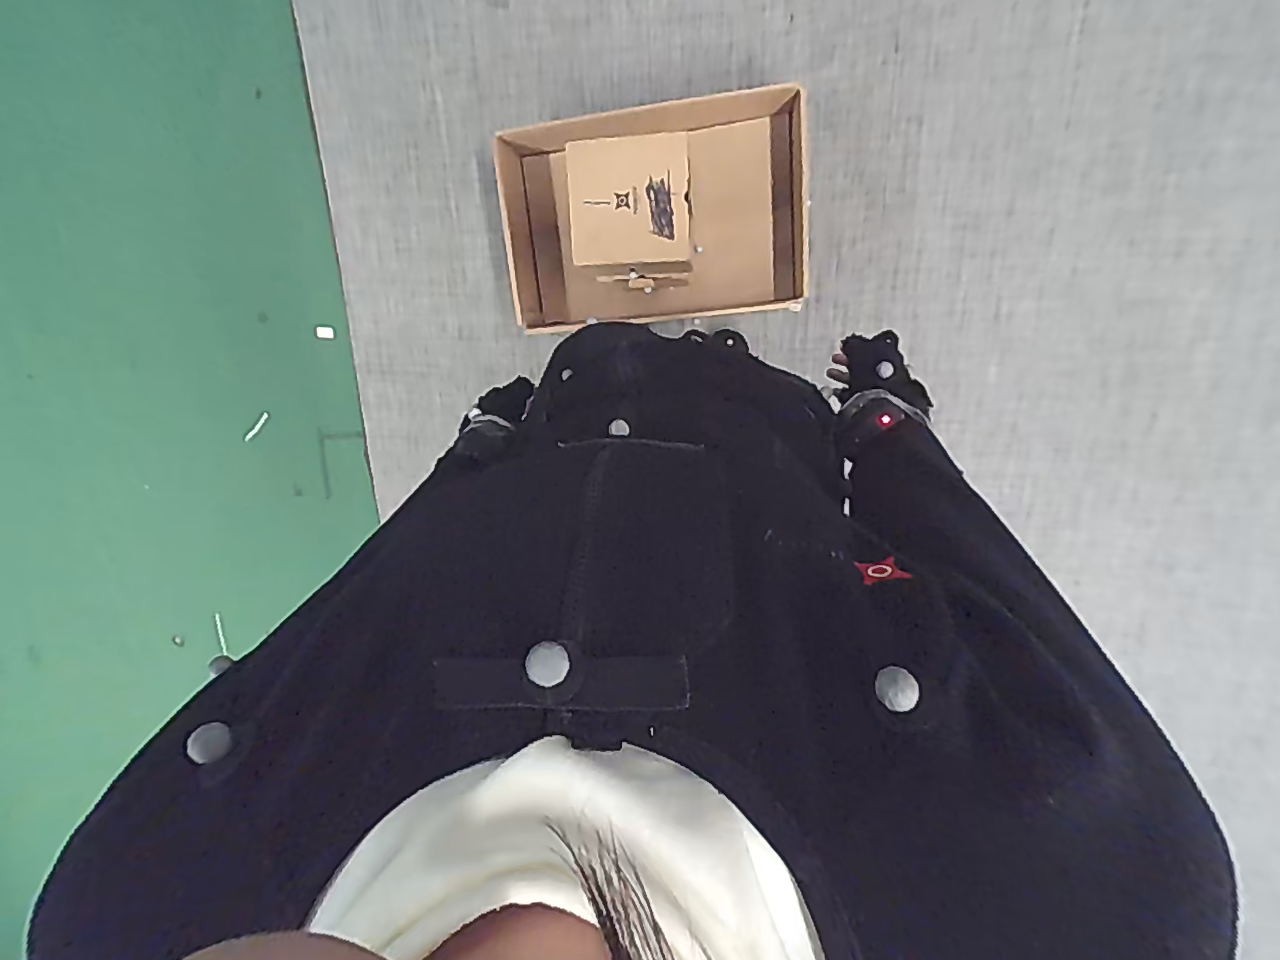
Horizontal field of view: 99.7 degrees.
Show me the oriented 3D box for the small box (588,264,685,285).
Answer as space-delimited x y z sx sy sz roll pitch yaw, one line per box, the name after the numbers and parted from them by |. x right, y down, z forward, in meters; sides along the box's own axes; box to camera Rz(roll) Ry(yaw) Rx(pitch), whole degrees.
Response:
-0.002 -0.458 1.004 0.168 0.176 0.179 1 106 7 | small box

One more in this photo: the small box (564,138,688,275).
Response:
-0.013 -0.422 0.860 0.179 0.176 0.168 1 105 8 | small box
